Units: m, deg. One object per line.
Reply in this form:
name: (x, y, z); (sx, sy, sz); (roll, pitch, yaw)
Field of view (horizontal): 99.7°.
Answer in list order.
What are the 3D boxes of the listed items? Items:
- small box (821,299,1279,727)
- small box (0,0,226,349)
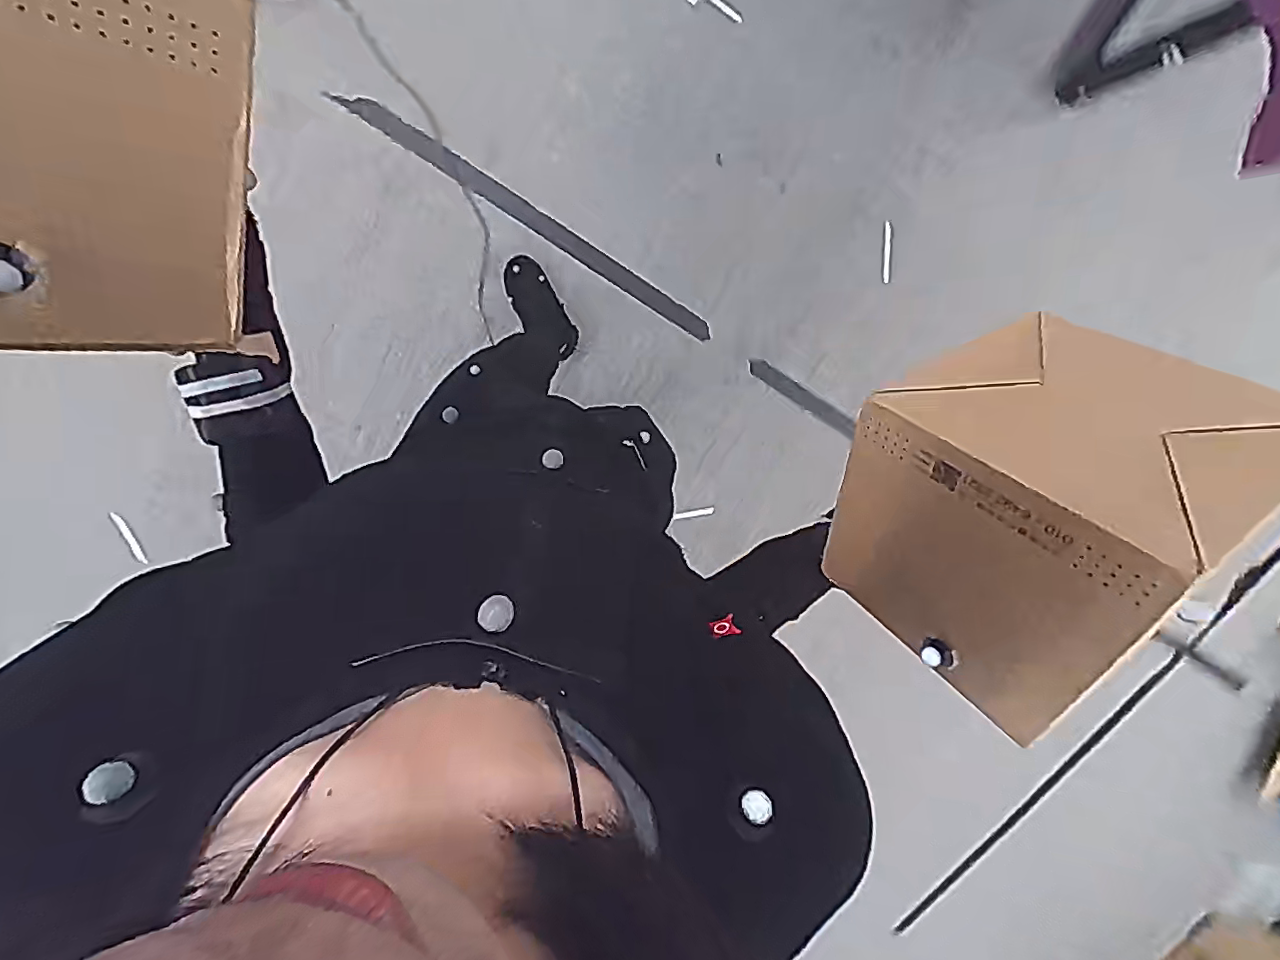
small box: (0.245, 0.007, 0.336); (0.179, 0.168, 0.176); (-27, 136, -20)
small box: (-0.299, -0.171, 0.220); (0.168, 0.179, 0.176); (45, 126, 26)
